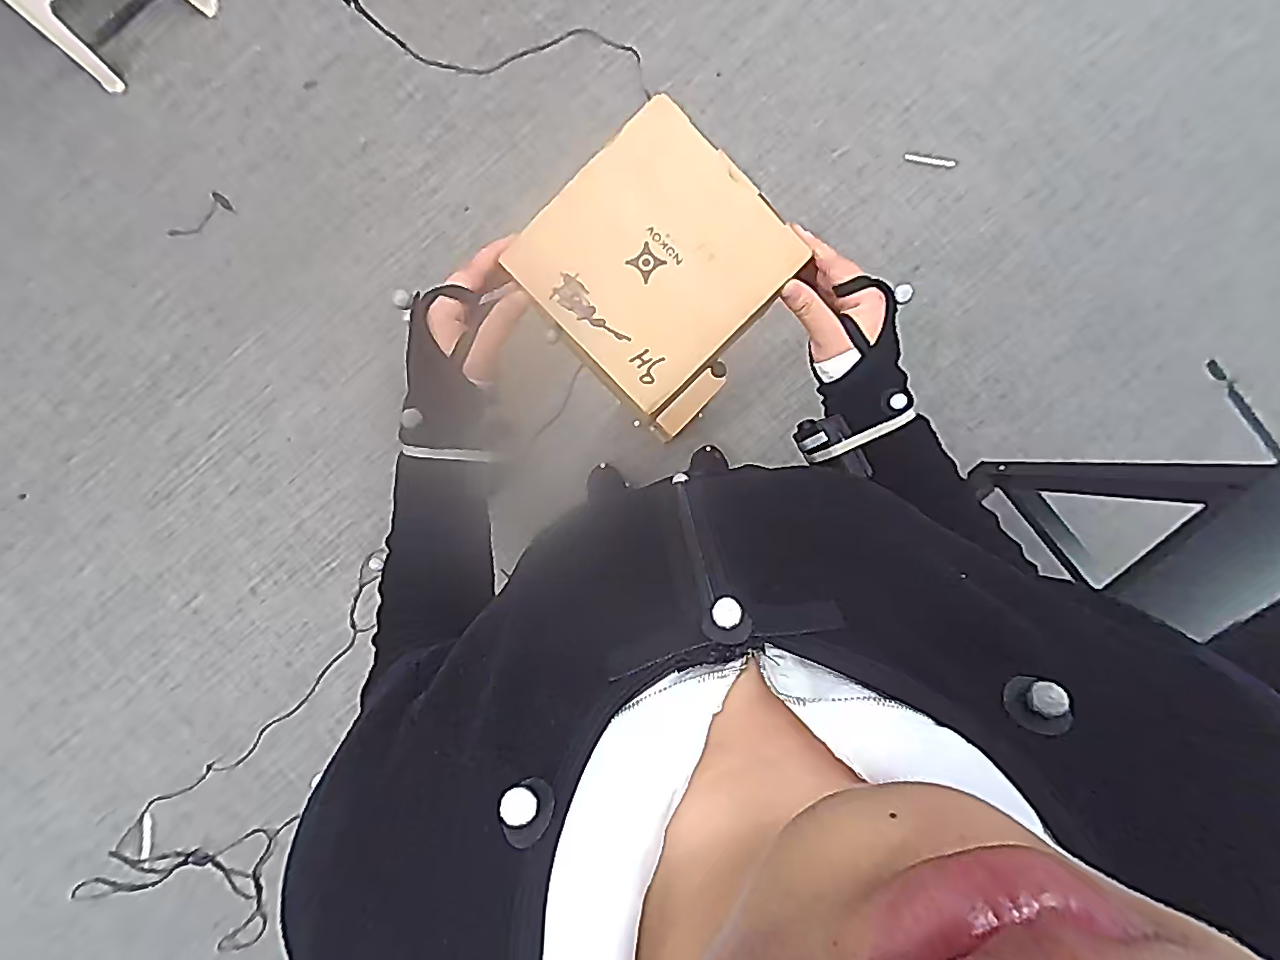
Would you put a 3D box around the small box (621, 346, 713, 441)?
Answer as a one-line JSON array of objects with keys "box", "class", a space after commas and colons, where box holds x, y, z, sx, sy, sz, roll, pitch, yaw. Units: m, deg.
[{"box": [0.066, -0.219, 1.420, 0.179, 0.176, 0.168, -44, 91, 2], "class": "small box"}]
